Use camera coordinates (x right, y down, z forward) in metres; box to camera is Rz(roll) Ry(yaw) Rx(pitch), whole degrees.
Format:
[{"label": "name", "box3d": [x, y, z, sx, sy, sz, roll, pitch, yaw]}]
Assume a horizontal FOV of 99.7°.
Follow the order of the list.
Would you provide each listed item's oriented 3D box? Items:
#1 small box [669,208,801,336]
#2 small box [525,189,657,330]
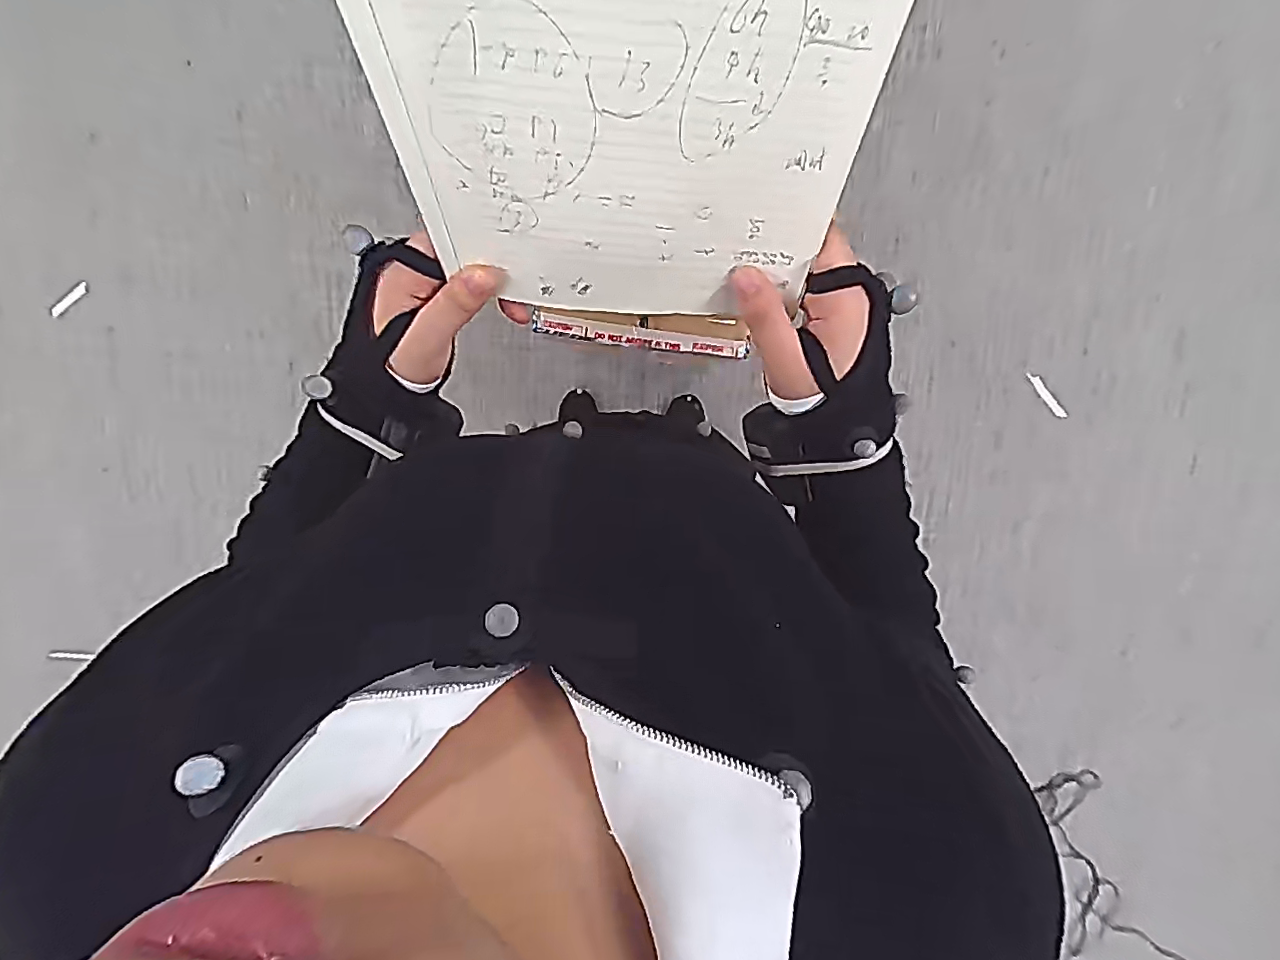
[{"label": "small box", "box3d": [0.144, -0.328, 0.881, 0.179, 0.176, 0.168, 2, 100, -1]}, {"label": "small box", "box3d": [-0.072, -0.344, 0.878, 0.179, 0.176, 0.168, 11, 101, 0]}]
